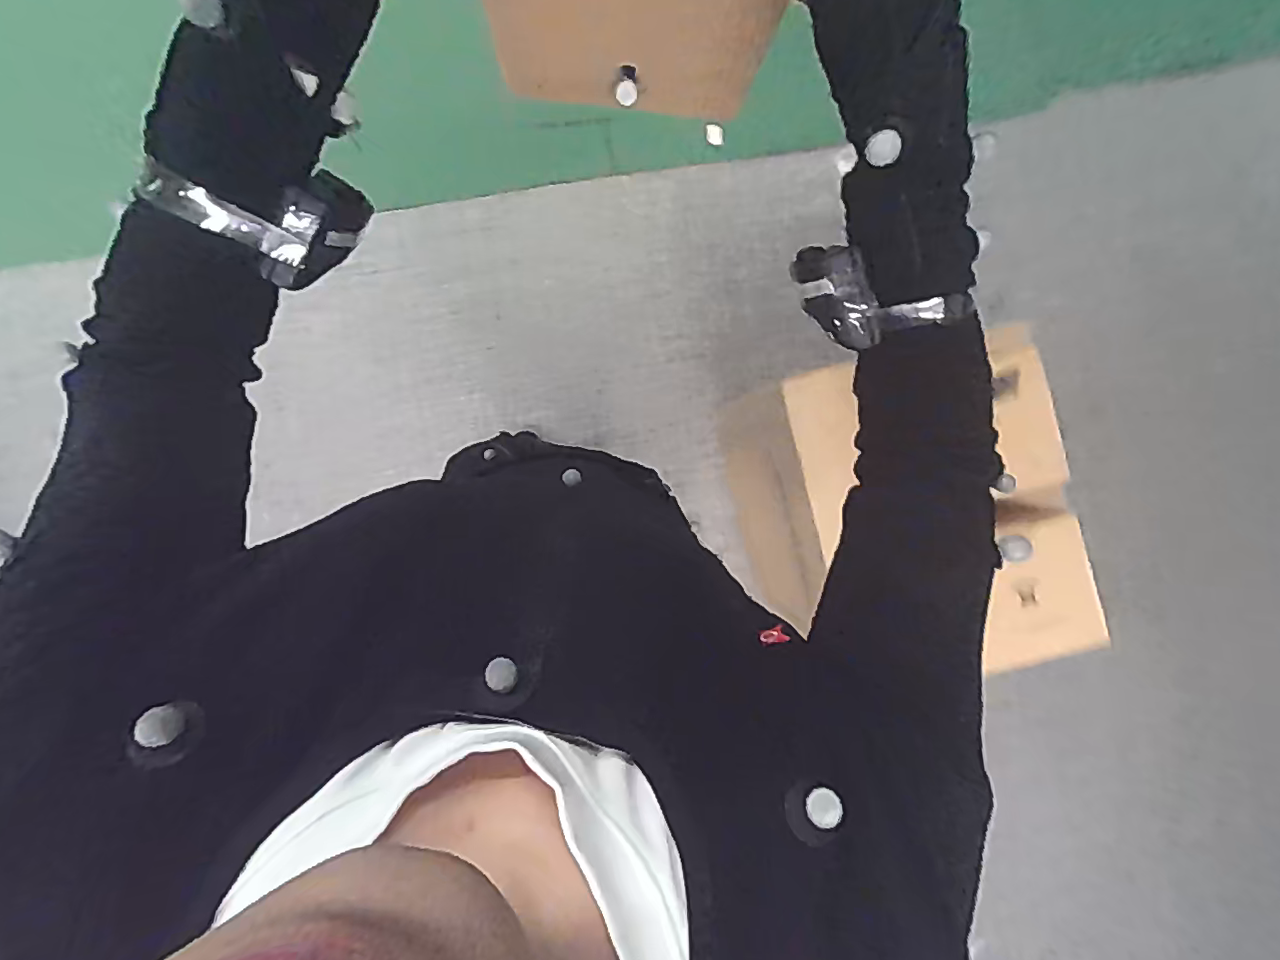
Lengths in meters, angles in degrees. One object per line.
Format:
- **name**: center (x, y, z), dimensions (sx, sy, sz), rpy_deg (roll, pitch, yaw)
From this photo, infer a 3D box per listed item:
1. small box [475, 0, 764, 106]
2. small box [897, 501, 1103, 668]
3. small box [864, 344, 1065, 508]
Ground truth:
- **small box**: center (-0.008, -0.361, 0.322), dimensions (0.179, 0.176, 0.168), rpy_deg (3, 95, -6)
- **small box**: center (0.496, 0.134, 0.773), dimensions (0.168, 0.176, 0.179), rpy_deg (-17, 95, 5)
- **small box**: center (0.438, -0.071, 0.759), dimensions (0.168, 0.176, 0.179), rpy_deg (-16, 94, 4)
